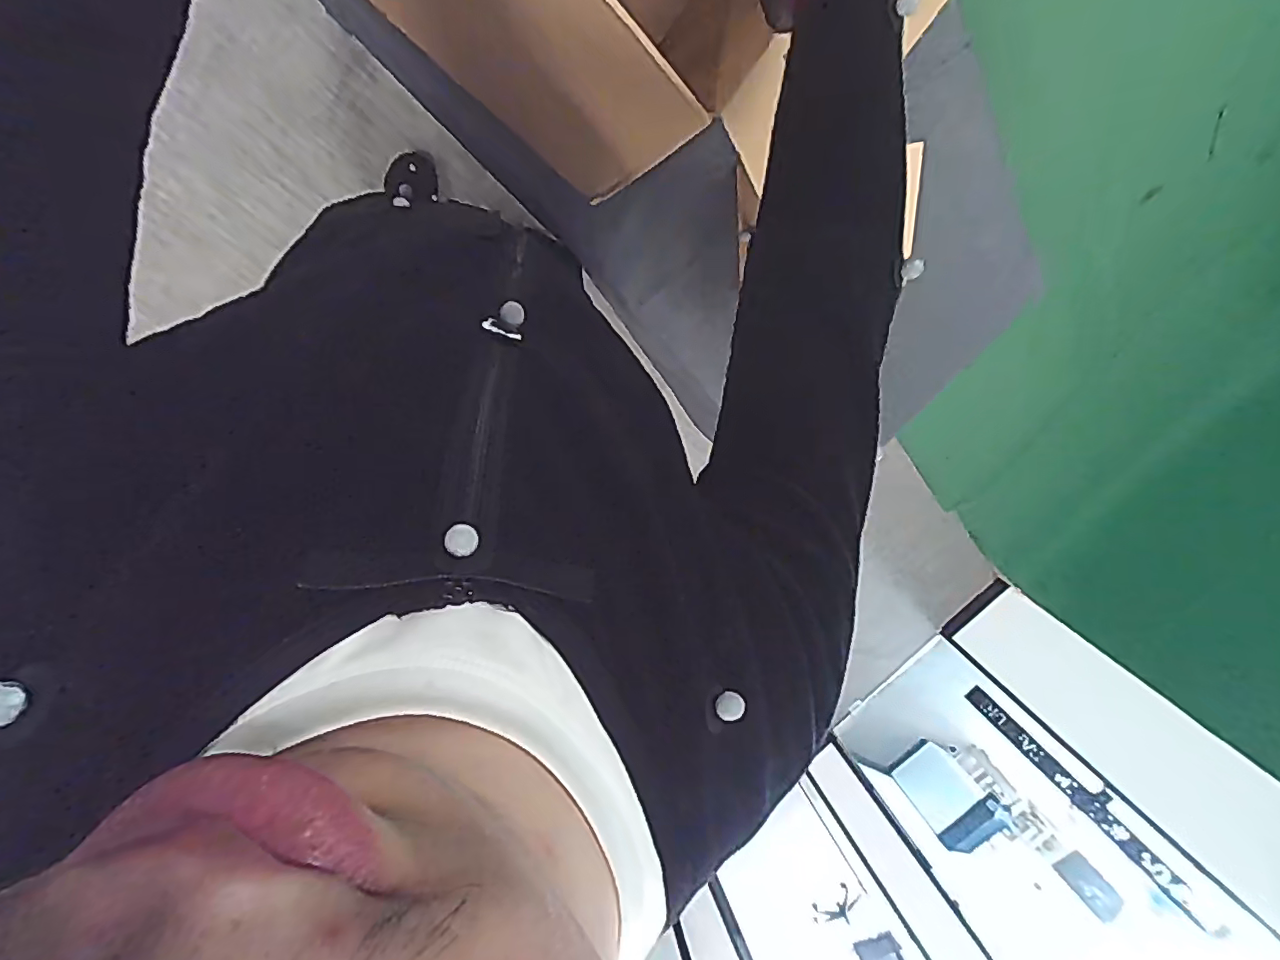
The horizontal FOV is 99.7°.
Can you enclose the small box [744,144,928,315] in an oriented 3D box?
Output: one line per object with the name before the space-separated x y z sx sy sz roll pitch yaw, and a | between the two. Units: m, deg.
small box | 0.255 -0.351 0.748 0.168 0.176 0.179 -16 126 -11
